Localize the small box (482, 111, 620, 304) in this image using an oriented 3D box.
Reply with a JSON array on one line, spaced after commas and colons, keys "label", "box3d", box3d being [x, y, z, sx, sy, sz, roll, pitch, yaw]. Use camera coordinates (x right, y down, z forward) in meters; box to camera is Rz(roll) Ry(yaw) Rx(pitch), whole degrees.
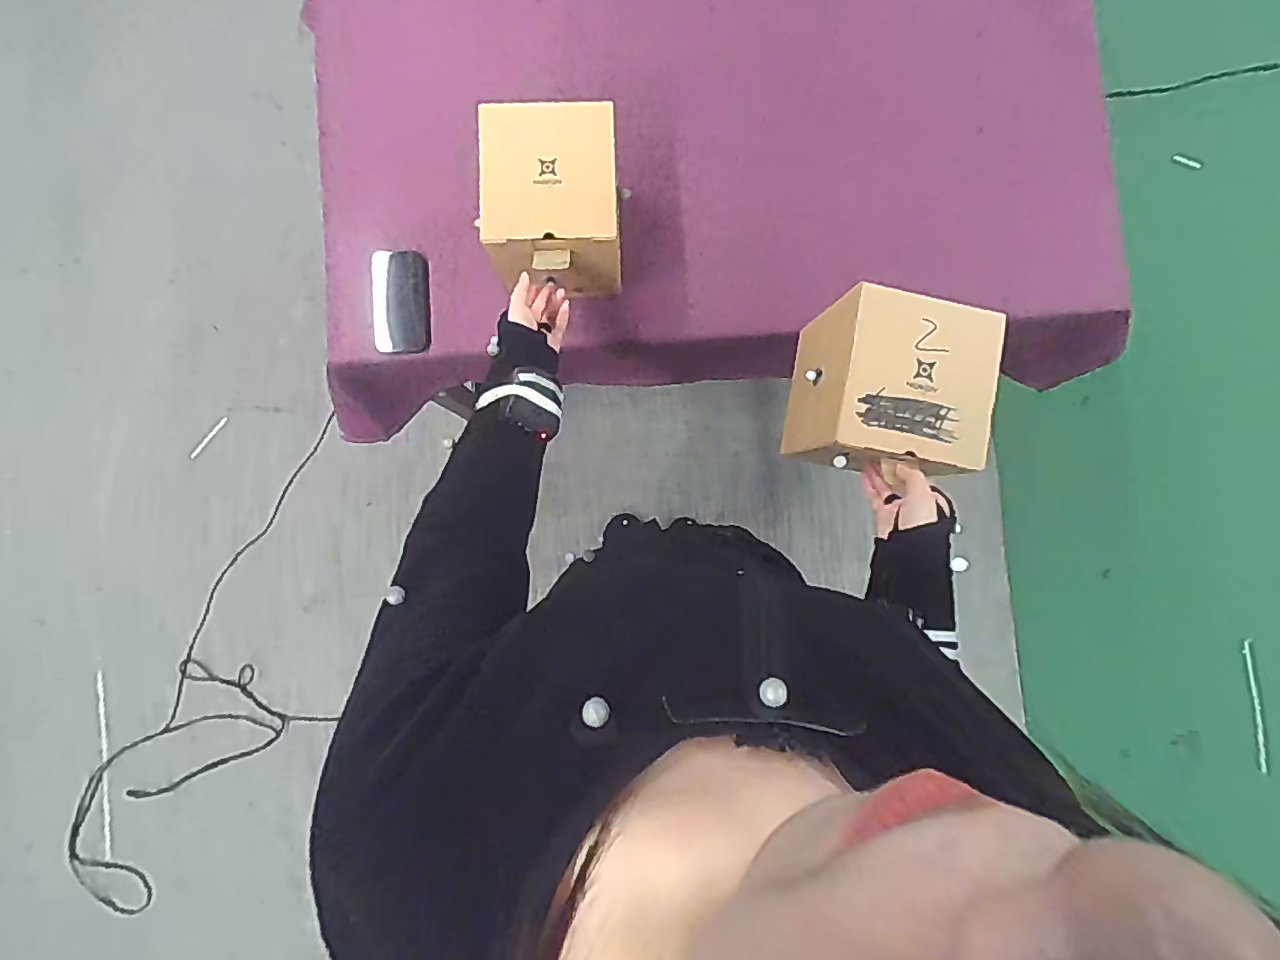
[{"label": "small box", "box3d": [-0.112, -0.357, 0.733, 0.168, 0.176, 0.179, -1, 86, -2]}]
